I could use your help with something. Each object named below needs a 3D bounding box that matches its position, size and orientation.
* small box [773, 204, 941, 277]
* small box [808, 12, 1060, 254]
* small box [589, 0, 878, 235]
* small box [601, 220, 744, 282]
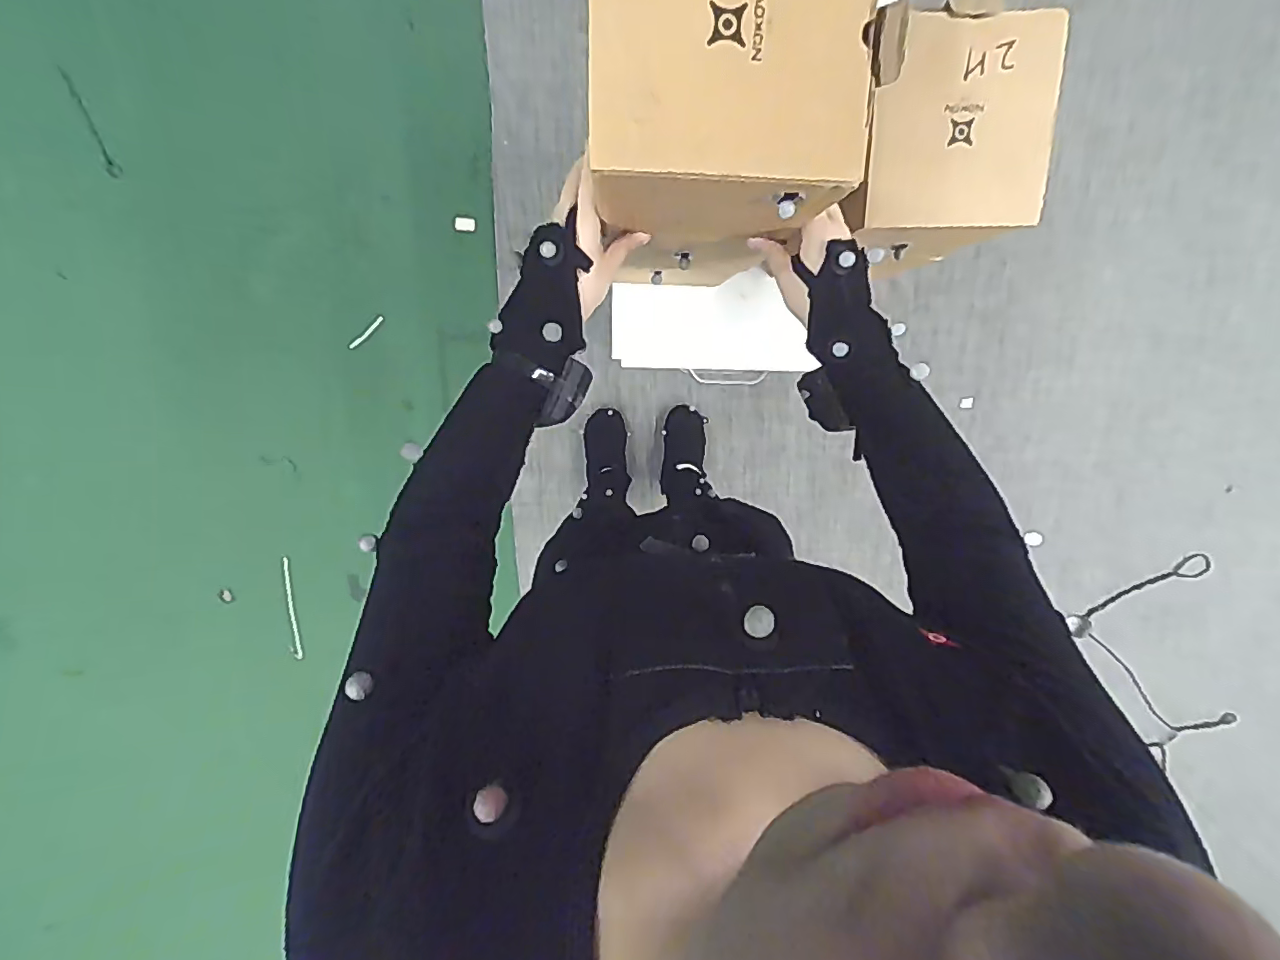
[{"bbox_3d":[0.286,-0.373,0.728,0.179,0.176,0.168,1,103,-2],"label":"small box"},{"bbox_3d":[0.284,-0.340,0.566,0.168,0.176,0.179,-1,103,-1],"label":"small box"},{"bbox_3d":[0.053,-0.290,0.403,0.179,0.176,0.168,0,102,-4],"label":"small box"},{"bbox_3d":[0.039,-0.362,0.722,0.179,0.176,0.168,1,103,-3],"label":"small box"}]
